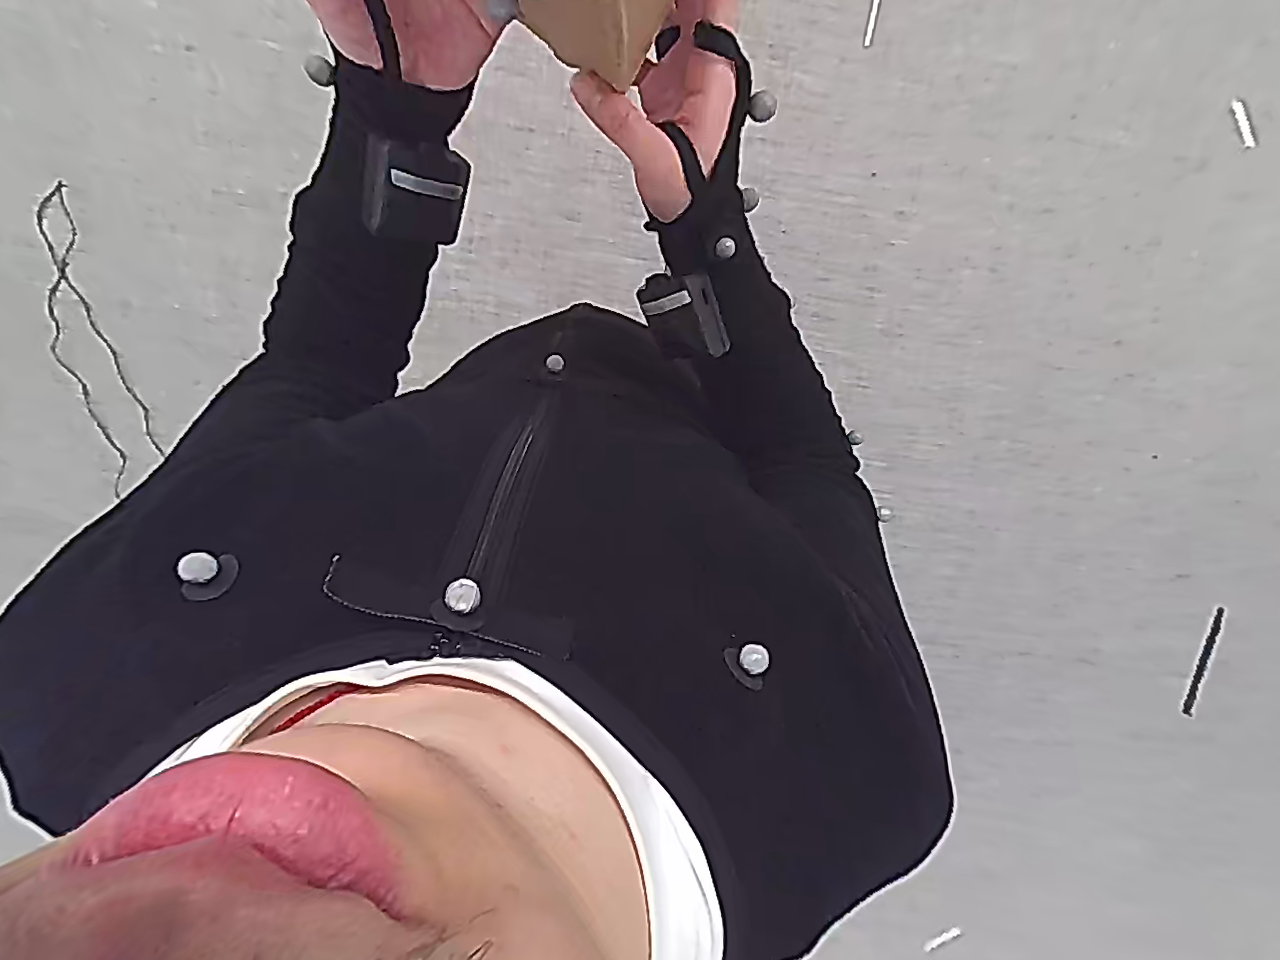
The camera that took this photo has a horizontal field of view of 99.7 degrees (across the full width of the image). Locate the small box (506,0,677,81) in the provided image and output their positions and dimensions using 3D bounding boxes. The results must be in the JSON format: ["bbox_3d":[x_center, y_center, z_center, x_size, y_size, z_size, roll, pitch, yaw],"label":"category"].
[{"bbox_3d":[-0.028,-0.280,0.178,0.168,0.176,0.179,29,111,-16],"label":"small box"}]
